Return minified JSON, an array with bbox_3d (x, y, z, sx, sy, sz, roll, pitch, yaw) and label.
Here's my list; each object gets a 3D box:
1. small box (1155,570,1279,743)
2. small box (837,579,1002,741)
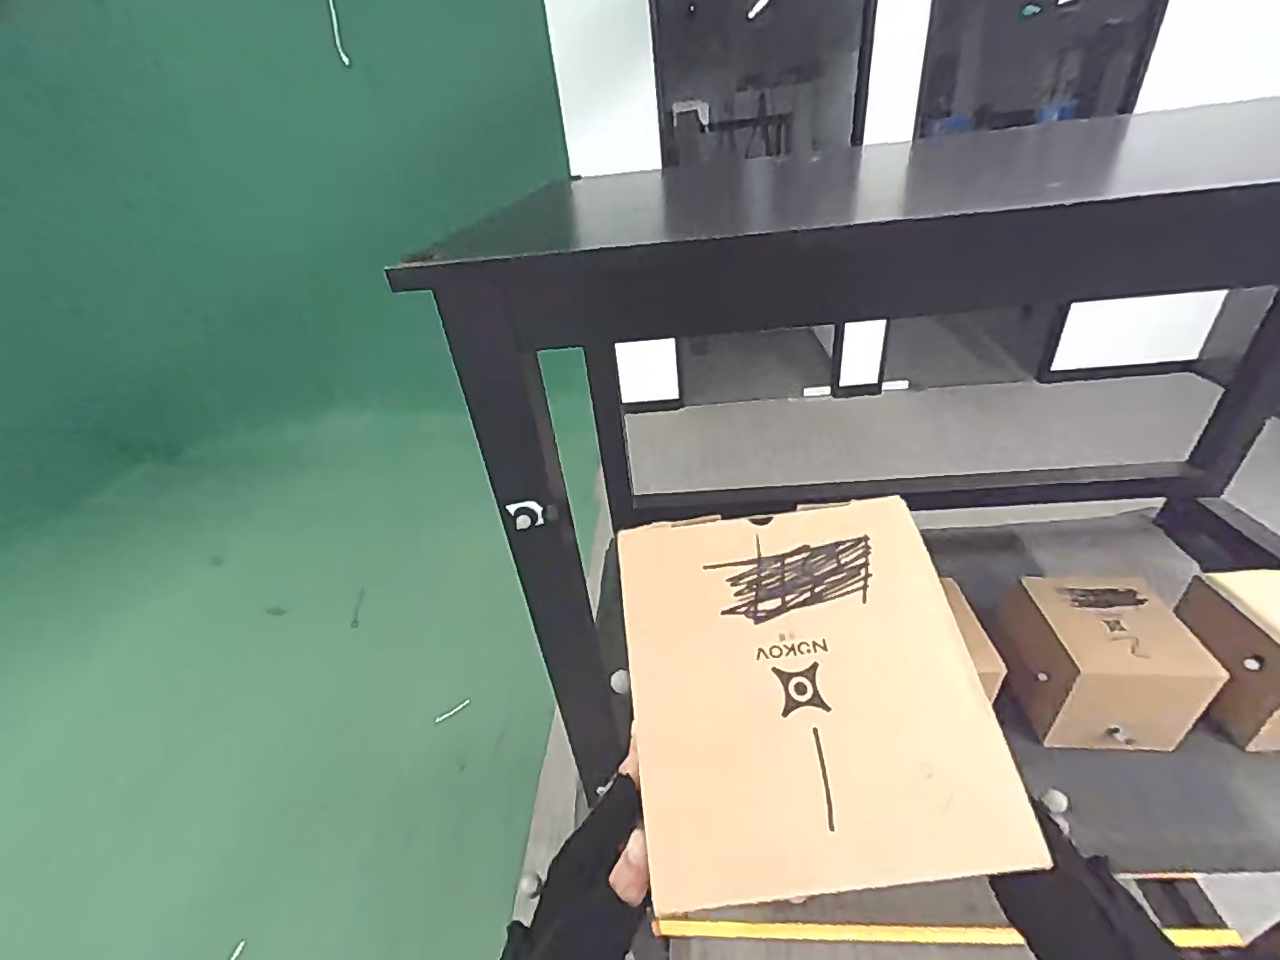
[{"bbox_3d":[0.895,0.247,0.756,0.168,0.176,0.179,-4,32,5],"label":"small box"},{"bbox_3d":[0.407,0.274,0.821,0.168,0.176,0.179,-3,32,6],"label":"small box"}]
